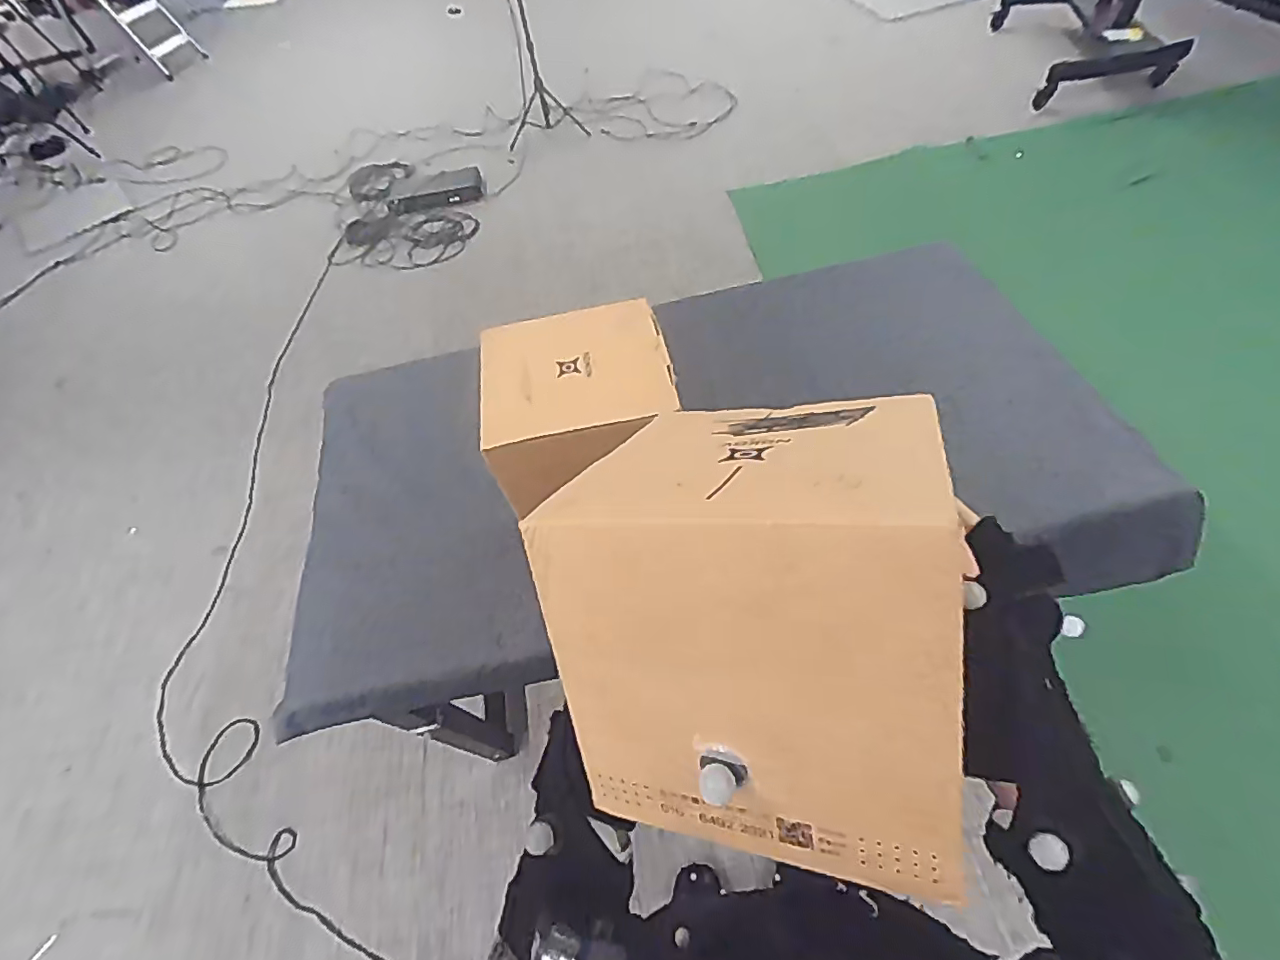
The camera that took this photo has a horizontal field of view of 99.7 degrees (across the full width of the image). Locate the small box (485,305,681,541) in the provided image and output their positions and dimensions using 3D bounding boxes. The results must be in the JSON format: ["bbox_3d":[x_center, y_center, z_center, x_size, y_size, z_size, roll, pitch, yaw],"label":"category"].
[{"bbox_3d":[-0.053,-0.054,0.578,0.179,0.176,0.168,-12,52,0],"label":"small box"}]

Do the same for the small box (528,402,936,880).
[{"bbox_3d":[0.067,0.062,0.302,0.168,0.176,0.179,-1,21,26],"label":"small box"}]
